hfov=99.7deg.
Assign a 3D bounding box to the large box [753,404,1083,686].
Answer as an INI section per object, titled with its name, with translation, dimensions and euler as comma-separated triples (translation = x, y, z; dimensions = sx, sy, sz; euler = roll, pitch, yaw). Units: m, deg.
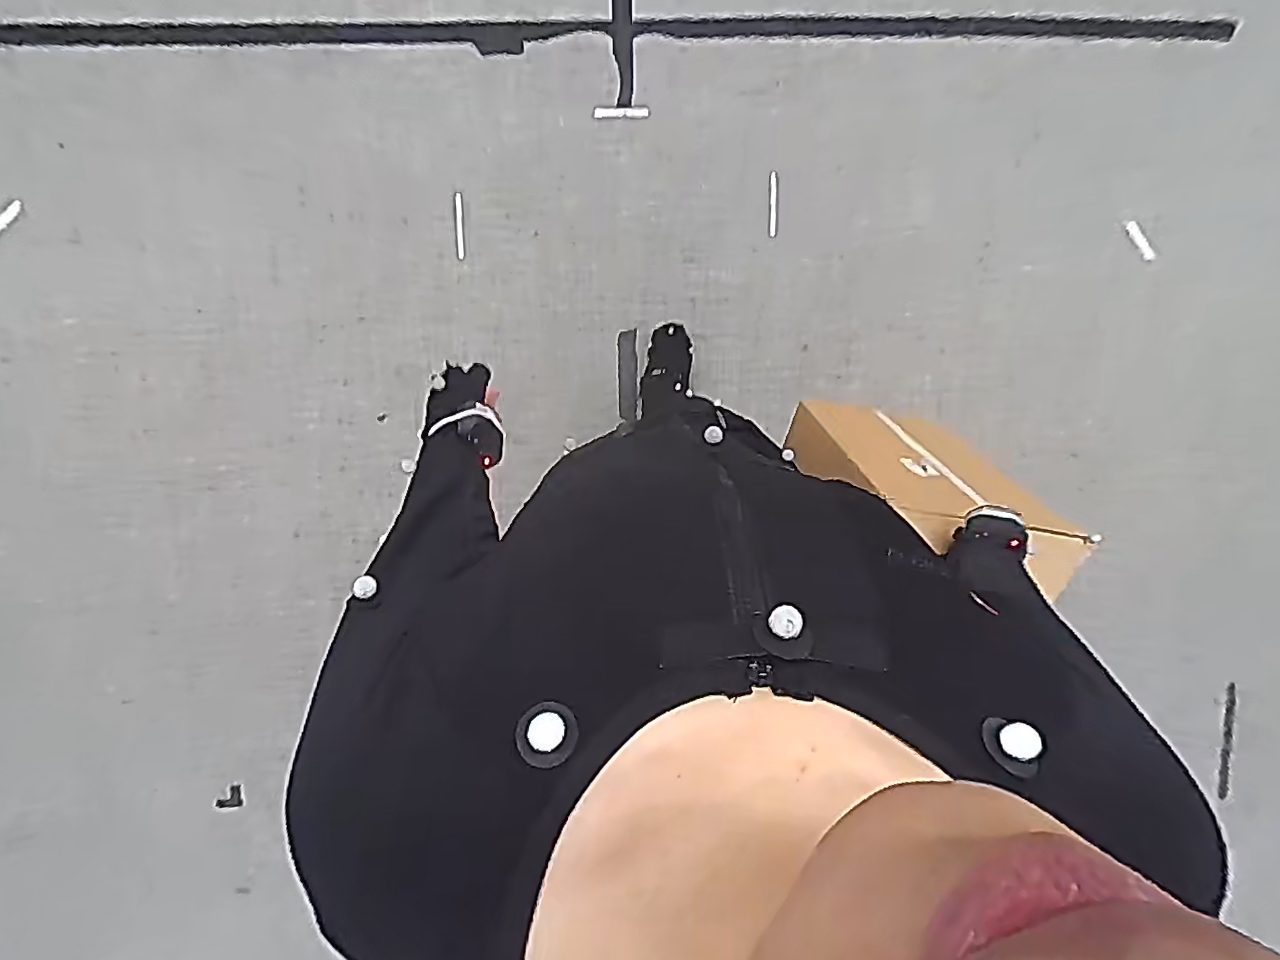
[large box]
translation = 0.440, 0.099, 0.986
dimensions = 0.320, 0.408, 0.320
euler = 9, 119, -8
